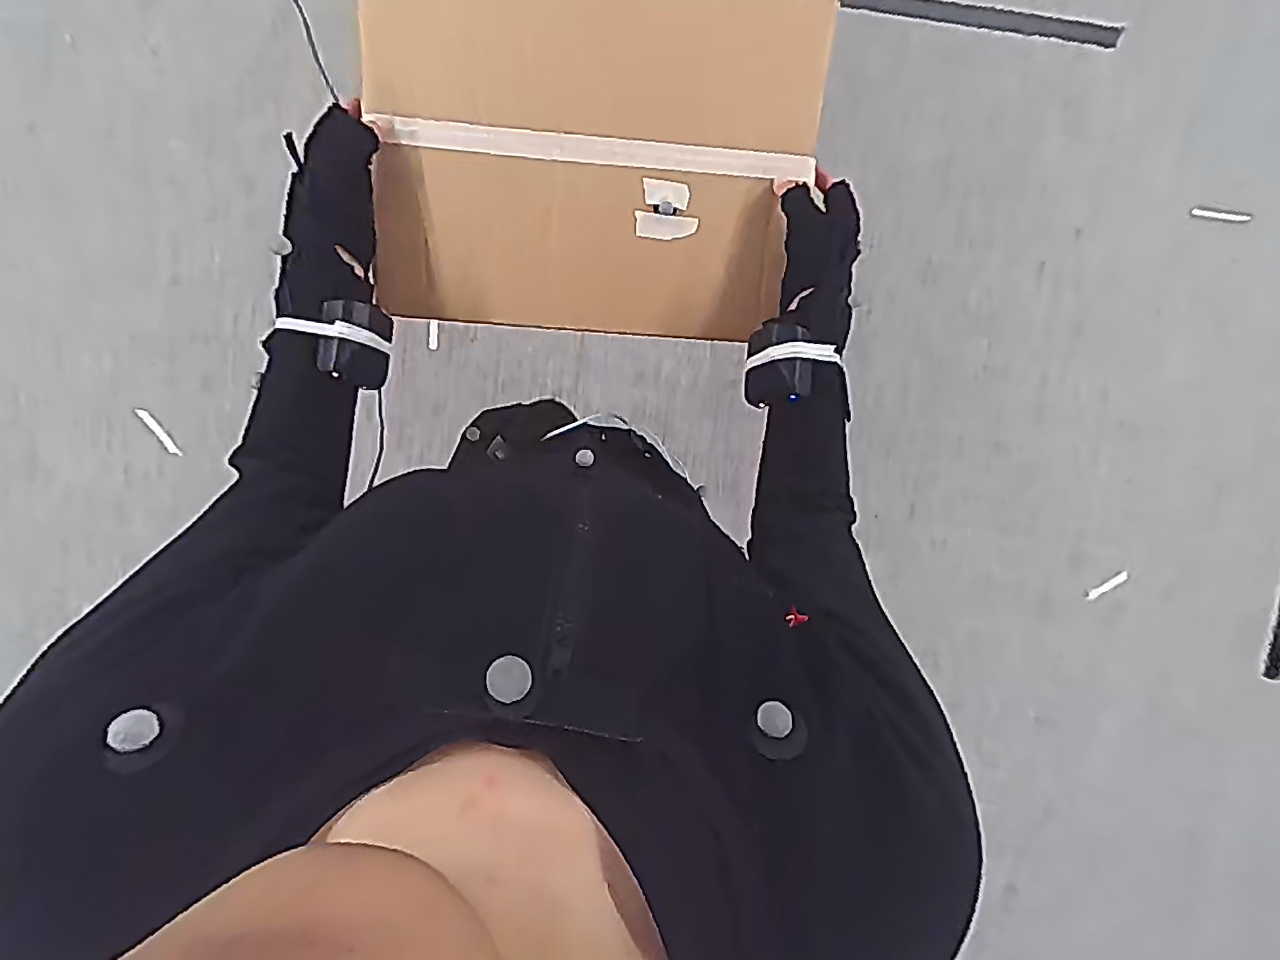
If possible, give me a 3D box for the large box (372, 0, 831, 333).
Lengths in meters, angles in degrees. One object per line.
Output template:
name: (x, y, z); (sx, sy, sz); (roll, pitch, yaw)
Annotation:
large box: (-0.049, -0.347, 0.642); (0.408, 0.320, 0.320); (3, 107, -6)
